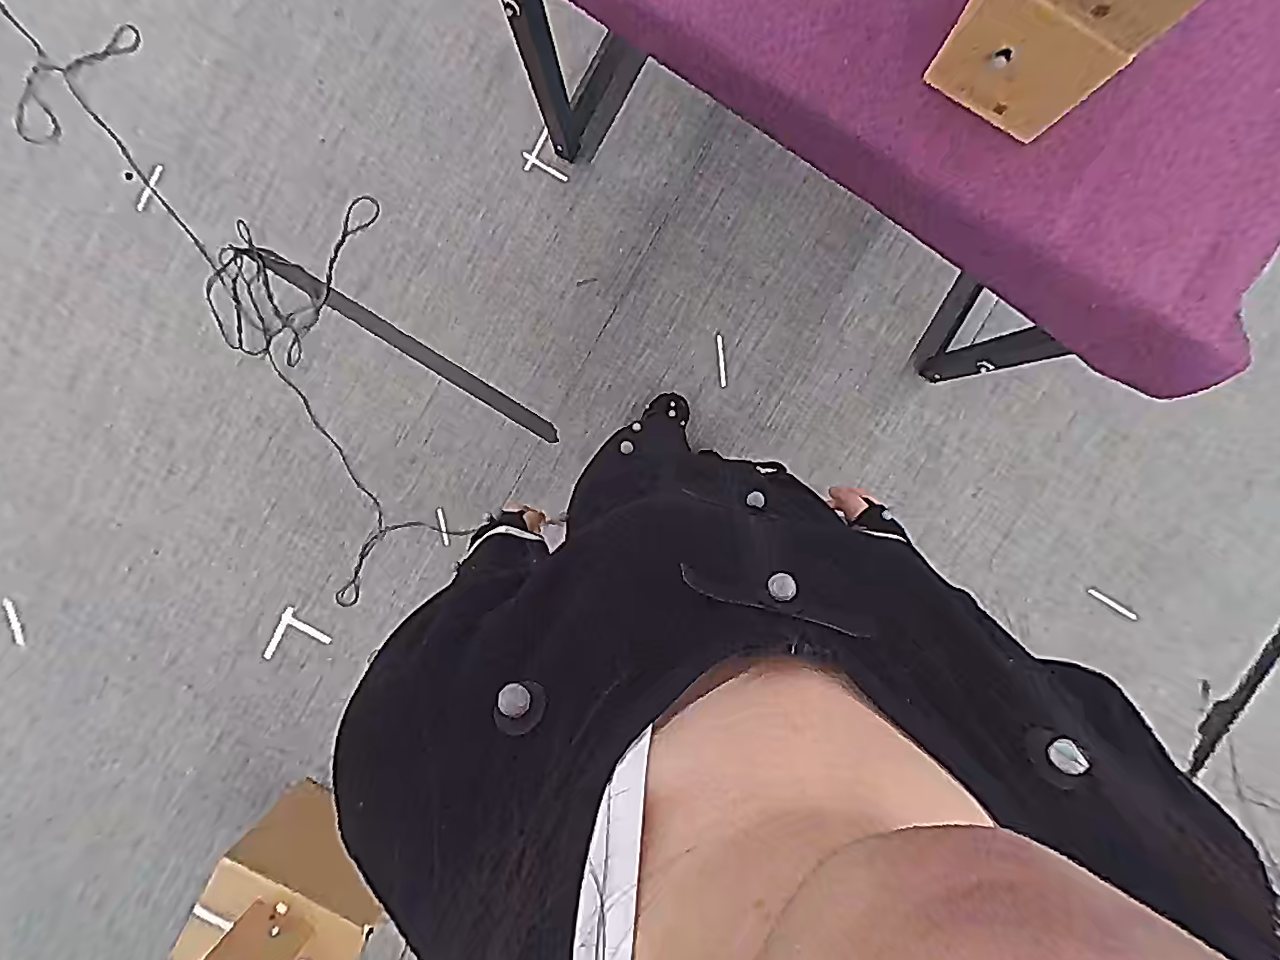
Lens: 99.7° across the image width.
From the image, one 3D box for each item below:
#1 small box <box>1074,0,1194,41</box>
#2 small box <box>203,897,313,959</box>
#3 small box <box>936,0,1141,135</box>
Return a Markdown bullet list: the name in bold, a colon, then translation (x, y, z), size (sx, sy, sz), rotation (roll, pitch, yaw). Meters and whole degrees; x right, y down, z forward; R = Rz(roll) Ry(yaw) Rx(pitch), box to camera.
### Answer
- **small box**: translation (0.485, -0.549, 0.469), size (0.168, 0.176, 0.179), rotation (32, 95, -1)
- **small box**: translation (-0.892, 1.121, 1.233), size (0.168, 0.176, 0.179), rotation (28, 94, -1)
- **small box**: translation (0.487, -0.557, 0.633), size (0.168, 0.176, 0.179), rotation (31, 94, -1)
